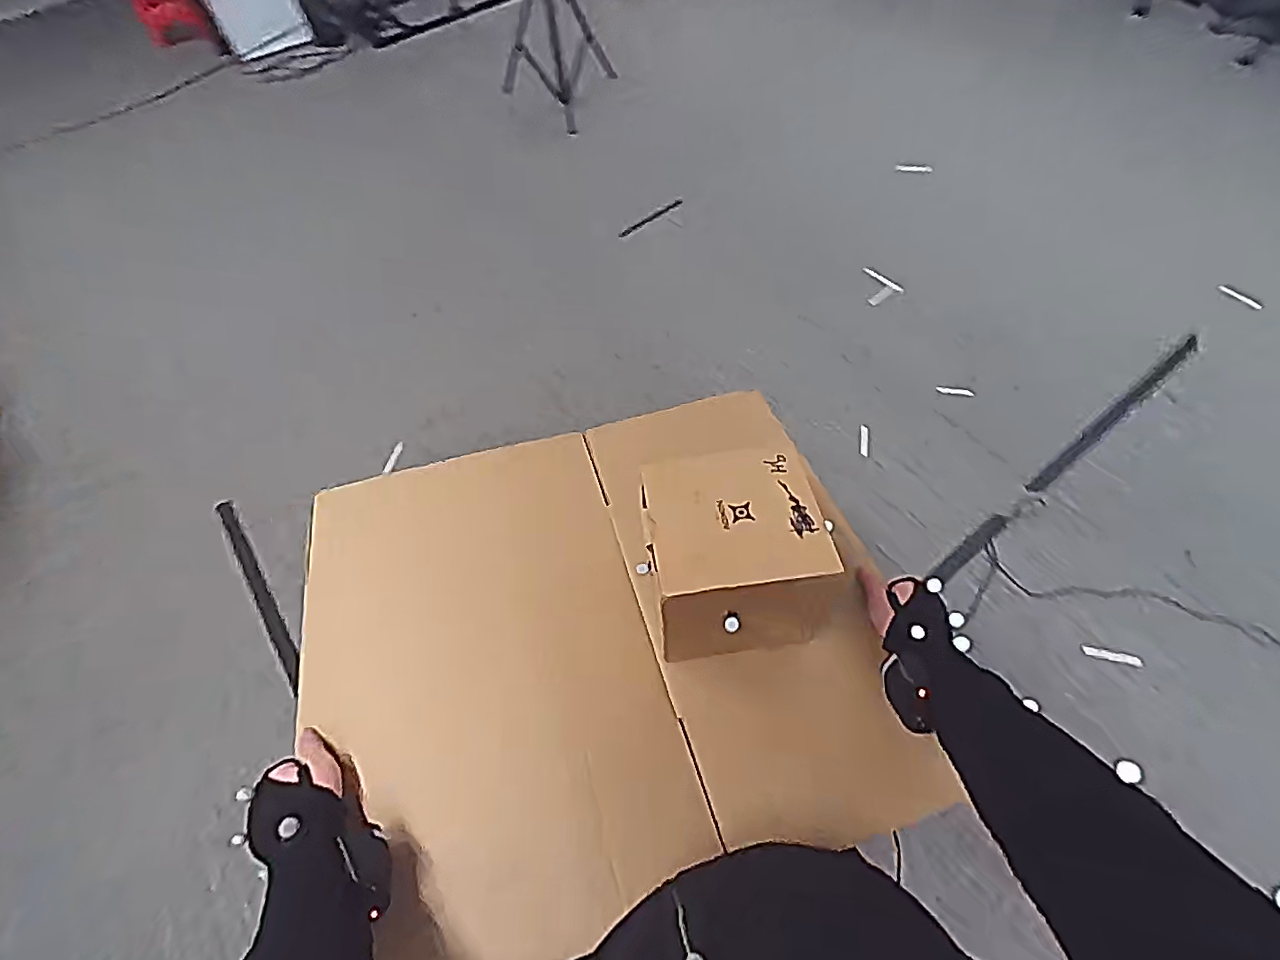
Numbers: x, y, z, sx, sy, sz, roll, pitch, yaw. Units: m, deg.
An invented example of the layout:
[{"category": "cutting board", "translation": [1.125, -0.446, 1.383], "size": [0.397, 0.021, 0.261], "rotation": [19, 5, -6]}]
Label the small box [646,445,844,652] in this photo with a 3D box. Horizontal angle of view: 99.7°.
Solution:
[{"category": "small box", "translation": [0.108, 0.085, 0.621], "size": [0.179, 0.176, 0.168], "rotation": [-8, 52, -1]}]
